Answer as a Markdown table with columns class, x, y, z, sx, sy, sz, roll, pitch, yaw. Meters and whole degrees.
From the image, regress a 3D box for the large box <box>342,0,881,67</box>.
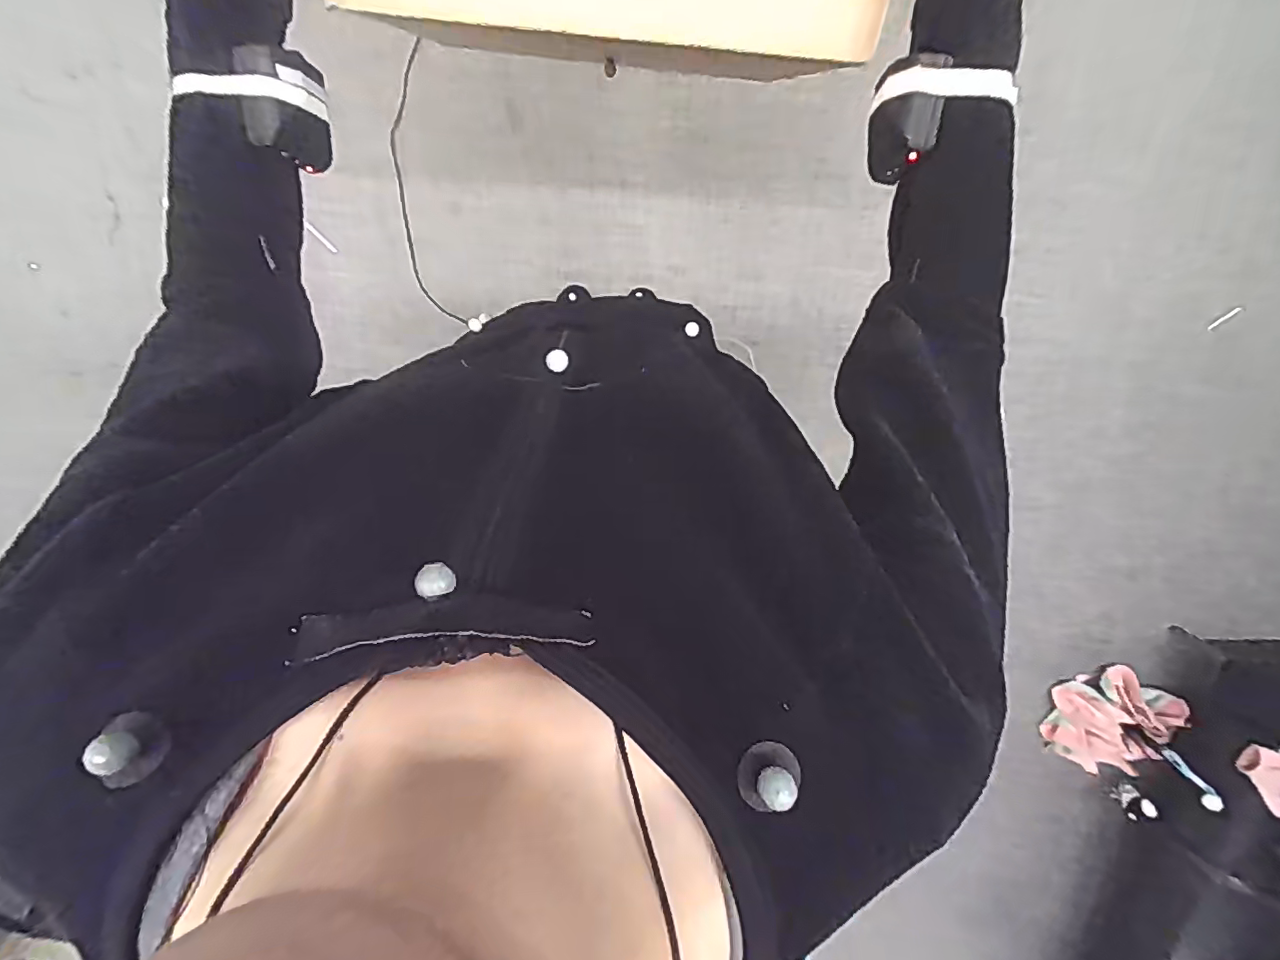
| class | x | y | z | sx | sy | sz | roll | pitch | yaw |
| --- | --- | --- | --- | --- | --- | --- | --- | --- | --- |
| large box | -0.013 | -0.545 | 0.442 | 0.408 | 0.320 | 0.320 | 3 | 125 | -4 |
